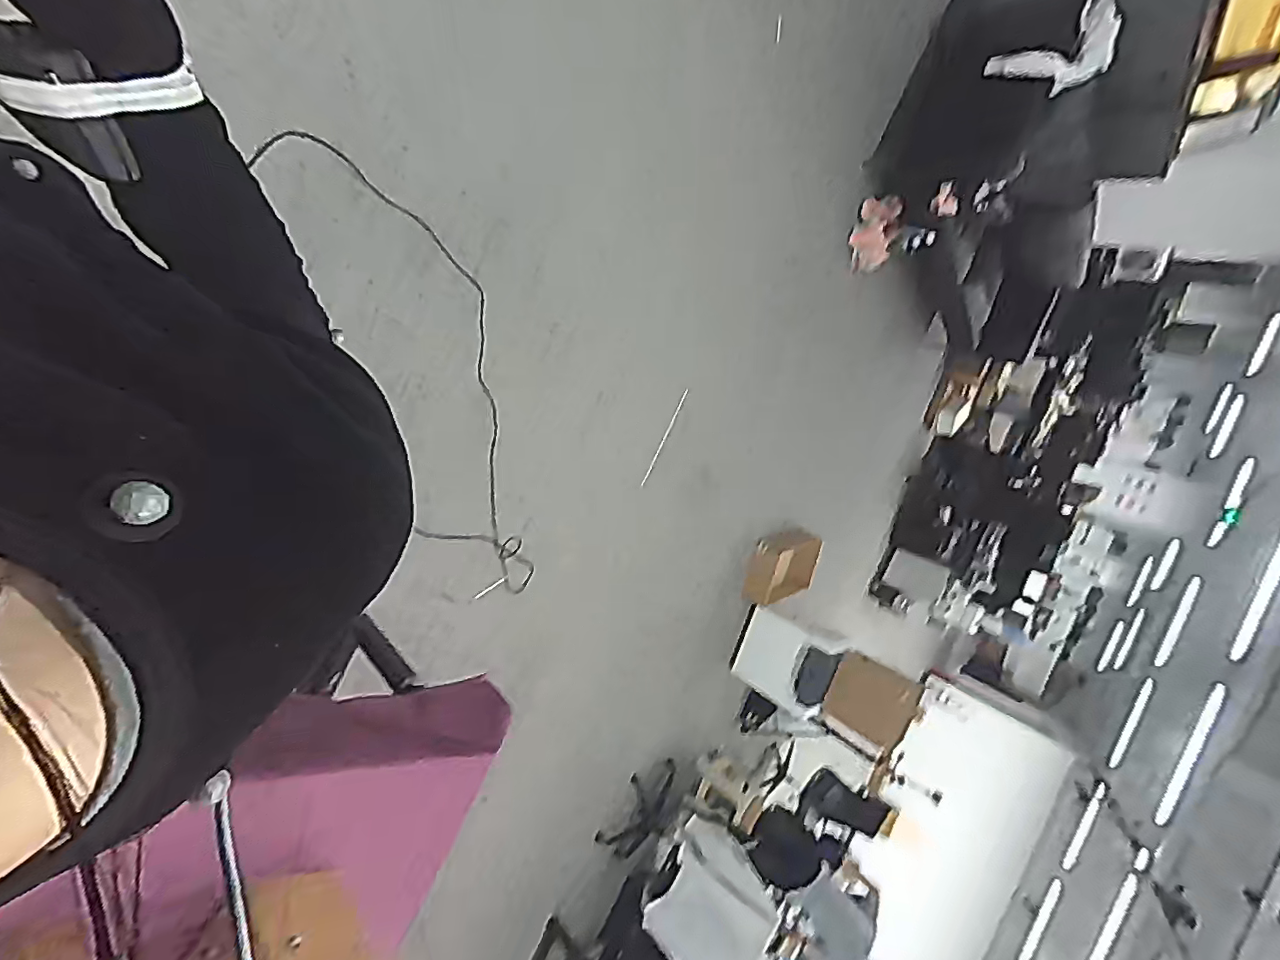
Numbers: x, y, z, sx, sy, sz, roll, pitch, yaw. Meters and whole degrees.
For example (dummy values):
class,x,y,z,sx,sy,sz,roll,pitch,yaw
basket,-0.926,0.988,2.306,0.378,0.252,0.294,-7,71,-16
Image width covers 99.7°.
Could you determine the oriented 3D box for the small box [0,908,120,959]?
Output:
class,x,y,z,sx,sy,sz,roll,pitch,yaw
small box,-0.740,0.645,0.614,0.179,0.176,0.168,30,87,-51
